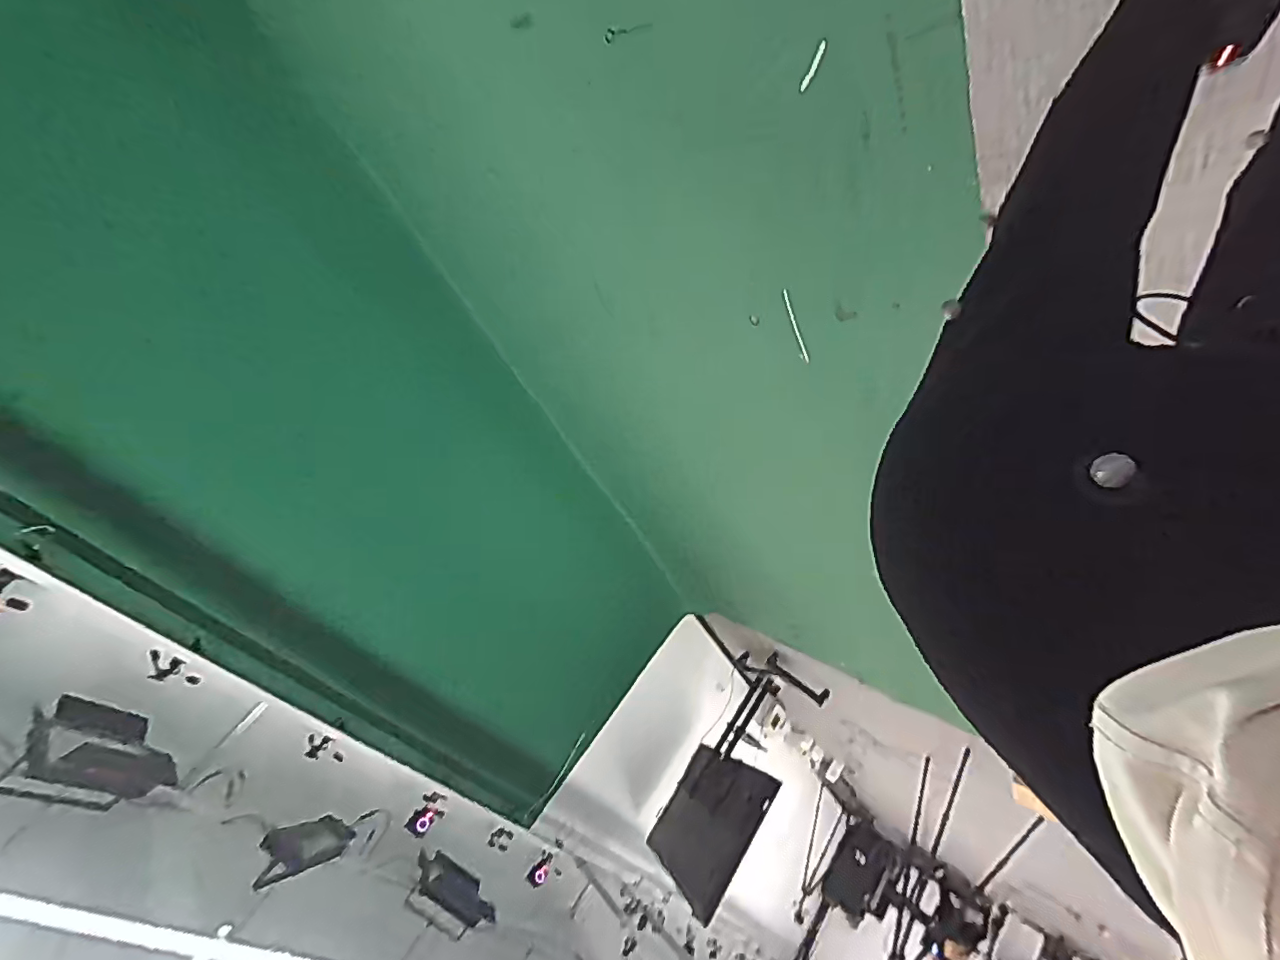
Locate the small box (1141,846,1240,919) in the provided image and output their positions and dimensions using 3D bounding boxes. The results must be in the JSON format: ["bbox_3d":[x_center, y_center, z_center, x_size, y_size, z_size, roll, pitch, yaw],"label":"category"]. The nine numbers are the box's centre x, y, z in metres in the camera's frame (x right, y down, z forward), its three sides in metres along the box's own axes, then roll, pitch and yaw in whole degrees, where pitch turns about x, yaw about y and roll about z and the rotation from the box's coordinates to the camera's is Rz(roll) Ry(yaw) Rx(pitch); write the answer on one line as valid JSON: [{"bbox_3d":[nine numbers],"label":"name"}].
[{"bbox_3d":[1.463,1.001,1.433,0.168,0.176,0.179,12,144,49],"label":"small box"}]

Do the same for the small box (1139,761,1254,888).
[{"bbox_3d":[1.330,0.819,1.296,0.168,0.176,0.179,13,146,49],"label":"small box"}]
